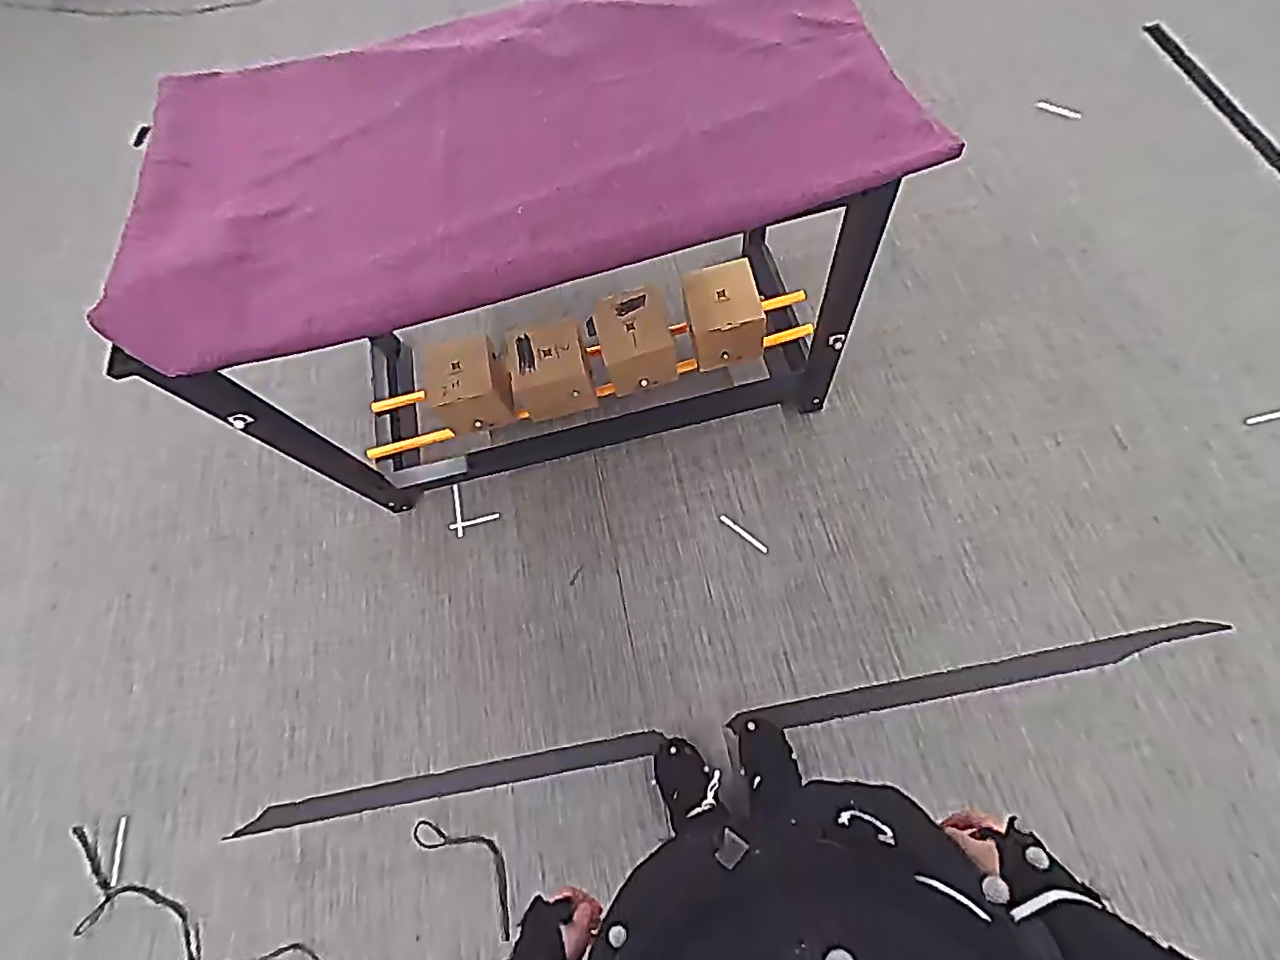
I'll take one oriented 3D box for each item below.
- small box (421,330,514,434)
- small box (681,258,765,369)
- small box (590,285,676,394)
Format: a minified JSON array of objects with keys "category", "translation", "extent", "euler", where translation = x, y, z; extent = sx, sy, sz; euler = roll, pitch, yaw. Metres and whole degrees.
[{"category":"small box","translation":[-0.427,-0.239,1.351],"extent":[0.168,0.176,0.179],"euler":[-14,70,3]},{"category":"small box","translation":[0.199,-0.401,1.321],"extent":[0.168,0.176,0.179],"euler":[-13,70,5]},{"category":"small box","translation":[-0.013,-0.339,1.332],"extent":[0.168,0.176,0.179],"euler":[-16,71,3]}]
